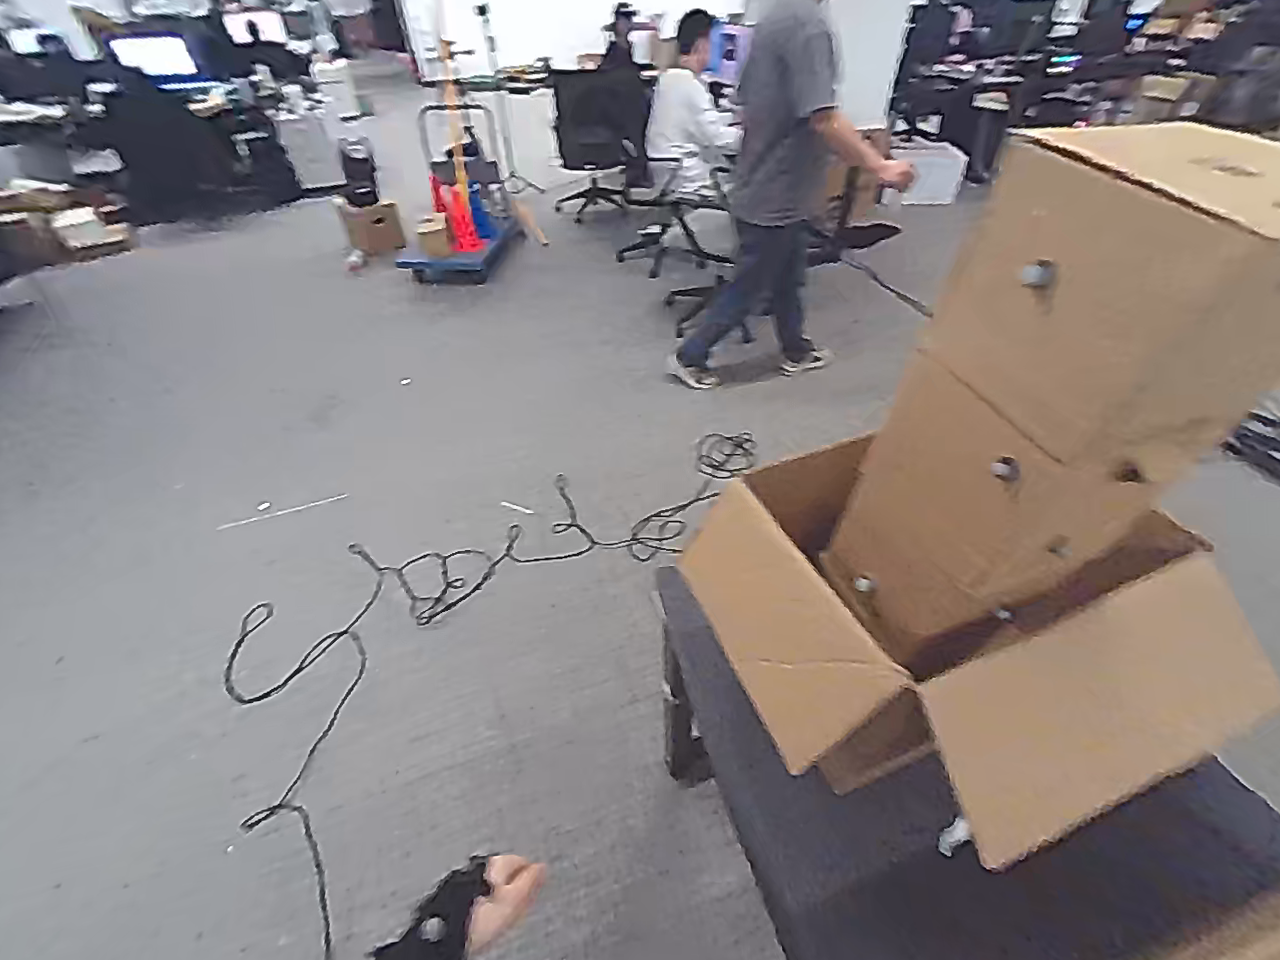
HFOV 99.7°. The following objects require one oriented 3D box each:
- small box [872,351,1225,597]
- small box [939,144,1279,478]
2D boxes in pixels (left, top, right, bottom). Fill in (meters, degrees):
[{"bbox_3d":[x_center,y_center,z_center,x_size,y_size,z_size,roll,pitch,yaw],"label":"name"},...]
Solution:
[{"bbox_3d":[0.361,-0.017,0.524,0.168,0.176,0.179,-13,50,-13],"label":"small box"},{"bbox_3d":[0.369,-0.128,0.403,0.168,0.176,0.179,-12,49,-12],"label":"small box"}]
